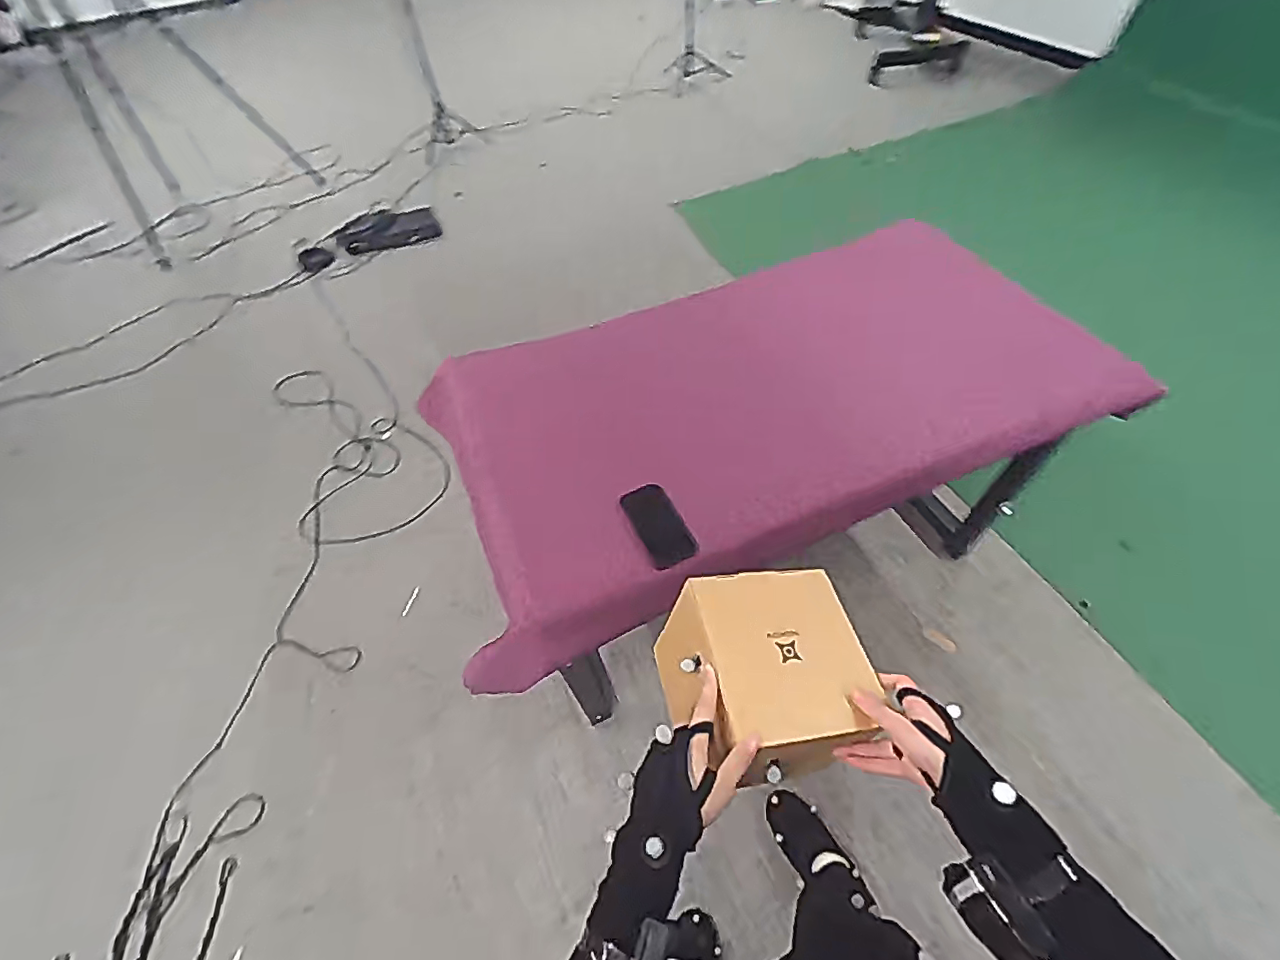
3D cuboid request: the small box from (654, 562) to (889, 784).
[{"bbox_3d":[0.124,0.213,0.591,0.168,0.176,0.179,-2,48,-16],"label":"small box"}]
